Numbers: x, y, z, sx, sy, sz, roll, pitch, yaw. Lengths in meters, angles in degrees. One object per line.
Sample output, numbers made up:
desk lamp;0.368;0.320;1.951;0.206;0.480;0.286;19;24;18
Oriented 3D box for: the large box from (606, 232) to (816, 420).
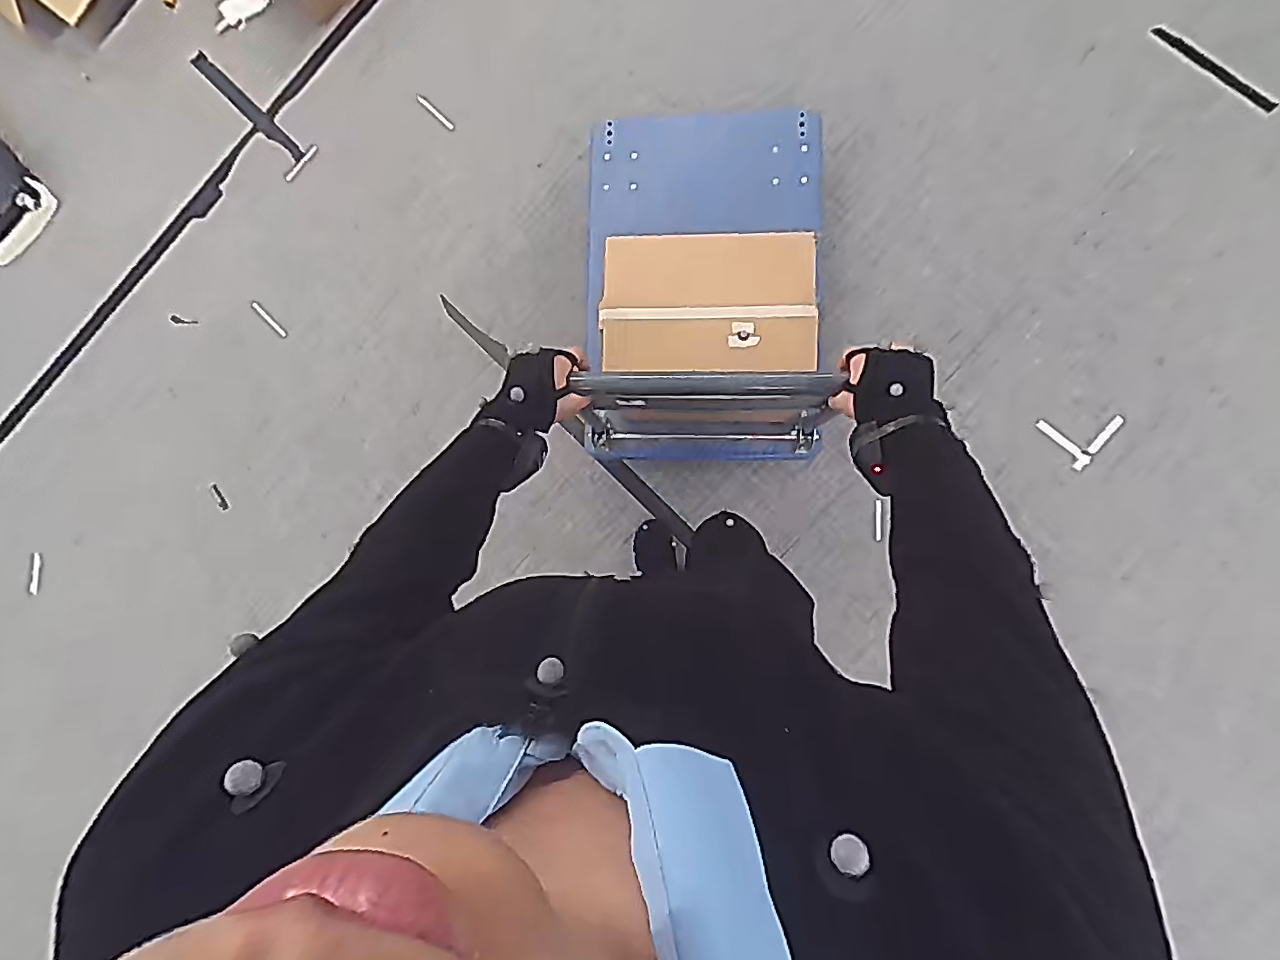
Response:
large box;0.140;-0.312;1.184;0.408;0.320;0.320;0;87;4
